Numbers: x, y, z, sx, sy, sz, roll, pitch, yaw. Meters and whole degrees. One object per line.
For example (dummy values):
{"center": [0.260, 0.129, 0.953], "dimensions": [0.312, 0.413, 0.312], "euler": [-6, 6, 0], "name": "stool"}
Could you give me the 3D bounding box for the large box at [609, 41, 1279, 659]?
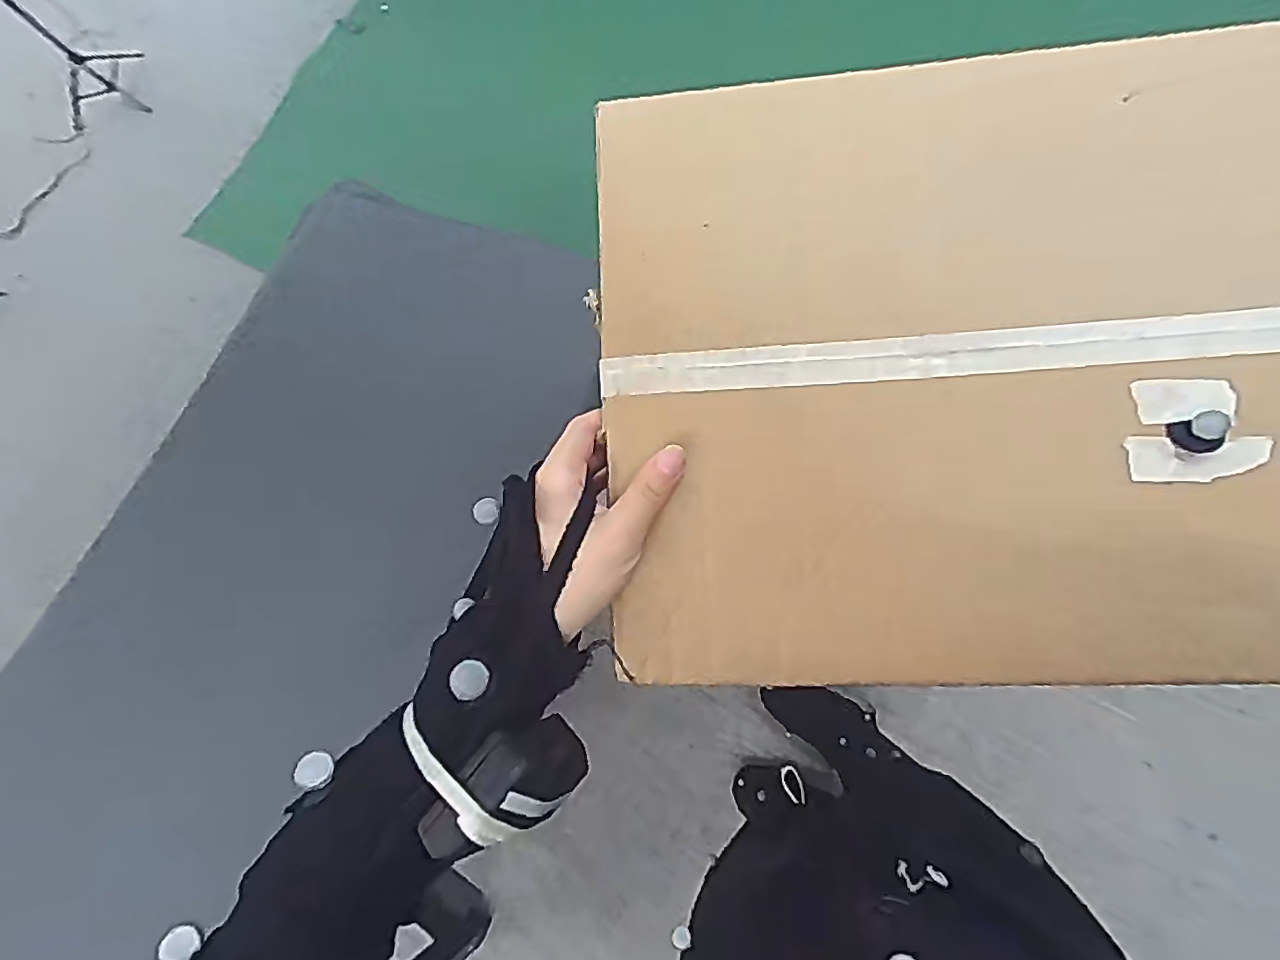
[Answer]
{"center": [0.198, -0.052, 0.425], "dimensions": [0.408, 0.320, 0.320], "euler": [-2, 83, 5], "name": "large box"}
